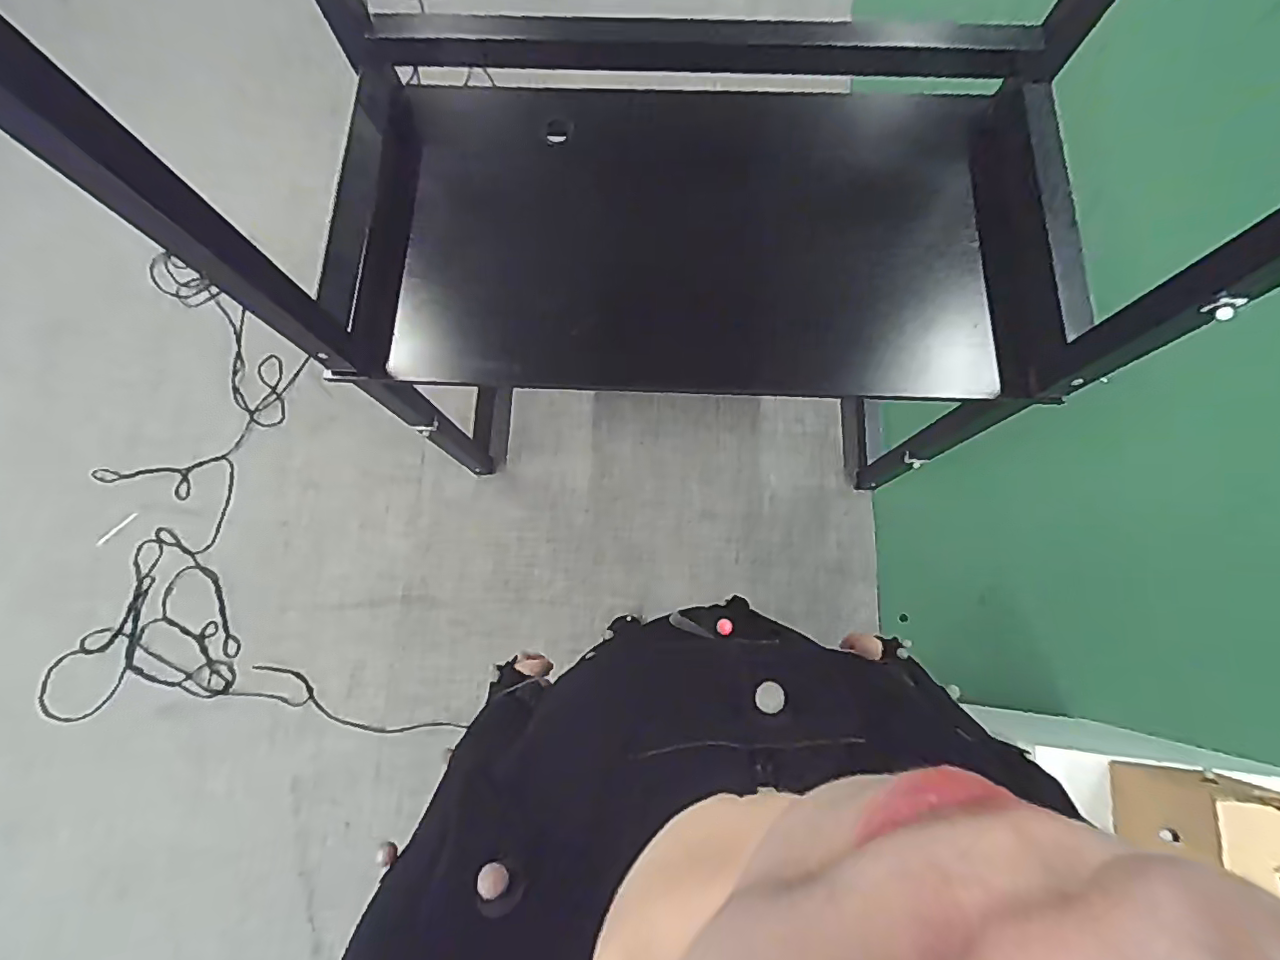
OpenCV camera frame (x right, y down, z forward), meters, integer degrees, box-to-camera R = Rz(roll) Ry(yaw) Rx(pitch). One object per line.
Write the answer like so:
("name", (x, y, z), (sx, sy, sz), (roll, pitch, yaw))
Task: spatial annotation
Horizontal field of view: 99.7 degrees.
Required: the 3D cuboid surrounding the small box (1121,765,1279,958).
("small box", (0.815, 0.511, 0.743), (0.168, 0.176, 0.179), (5, 77, 3))
